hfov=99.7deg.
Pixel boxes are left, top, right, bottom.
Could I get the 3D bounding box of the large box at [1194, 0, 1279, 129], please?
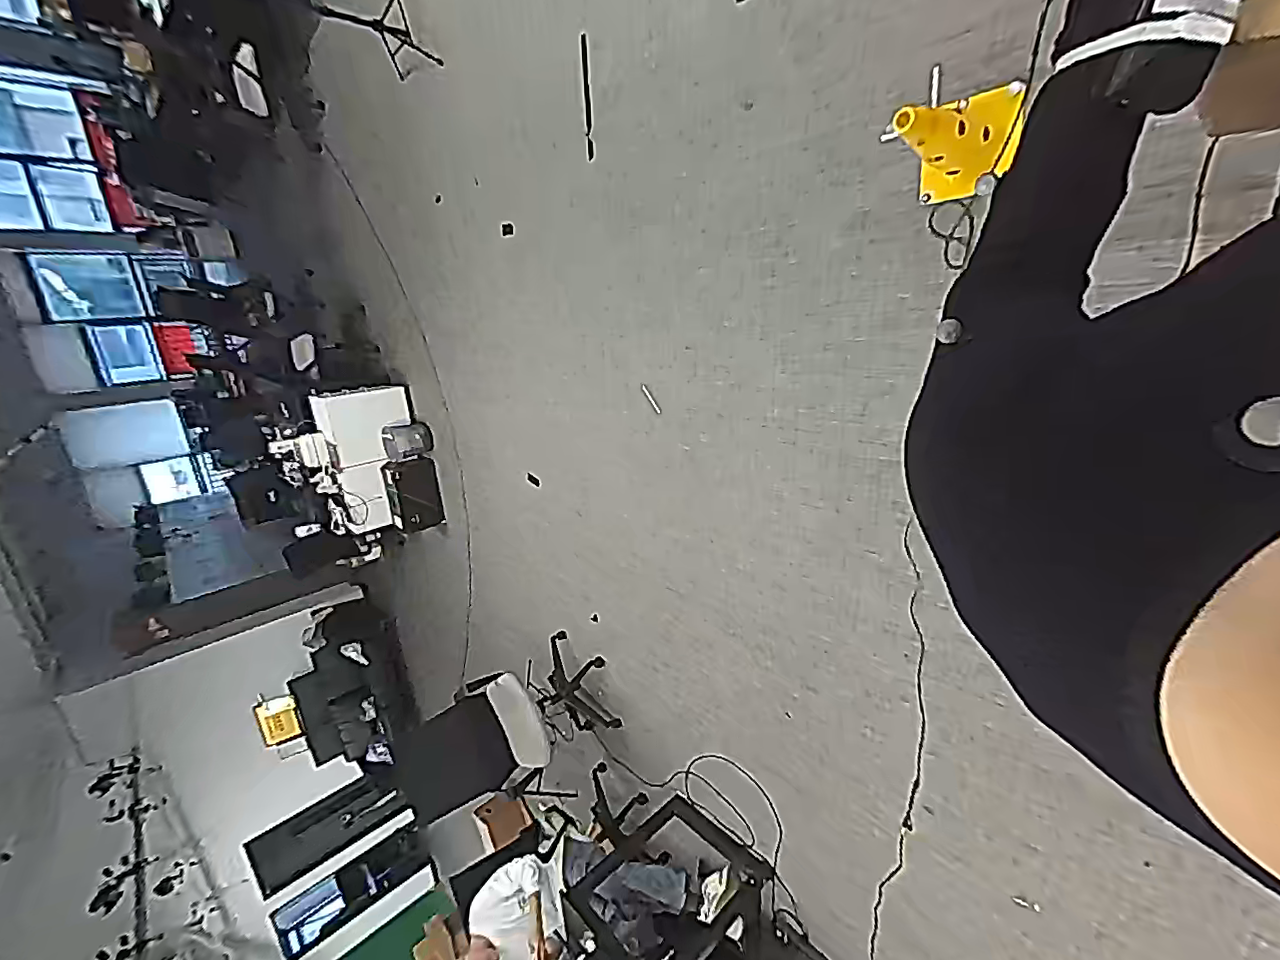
[{"bbox_3d":[0.590,-0.413,0.258,0.408,0.320,0.320,19,117,43],"label":"large box"}]
